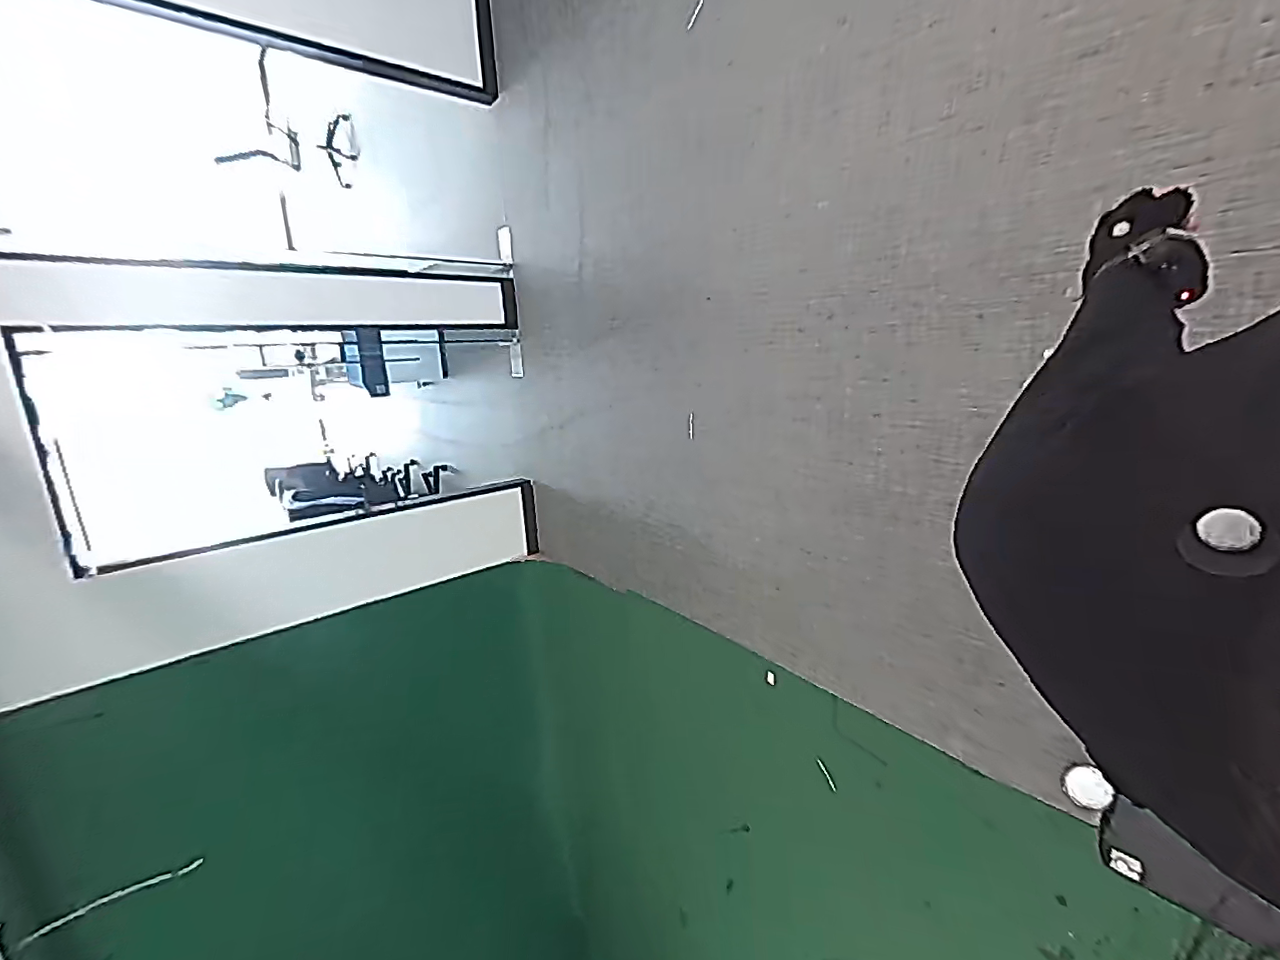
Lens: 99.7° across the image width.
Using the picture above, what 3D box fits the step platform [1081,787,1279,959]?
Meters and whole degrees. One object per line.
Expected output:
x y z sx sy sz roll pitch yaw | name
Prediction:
1.131 0.798 0.826 0.684 0.204 0.286 13 110 48 | step platform
